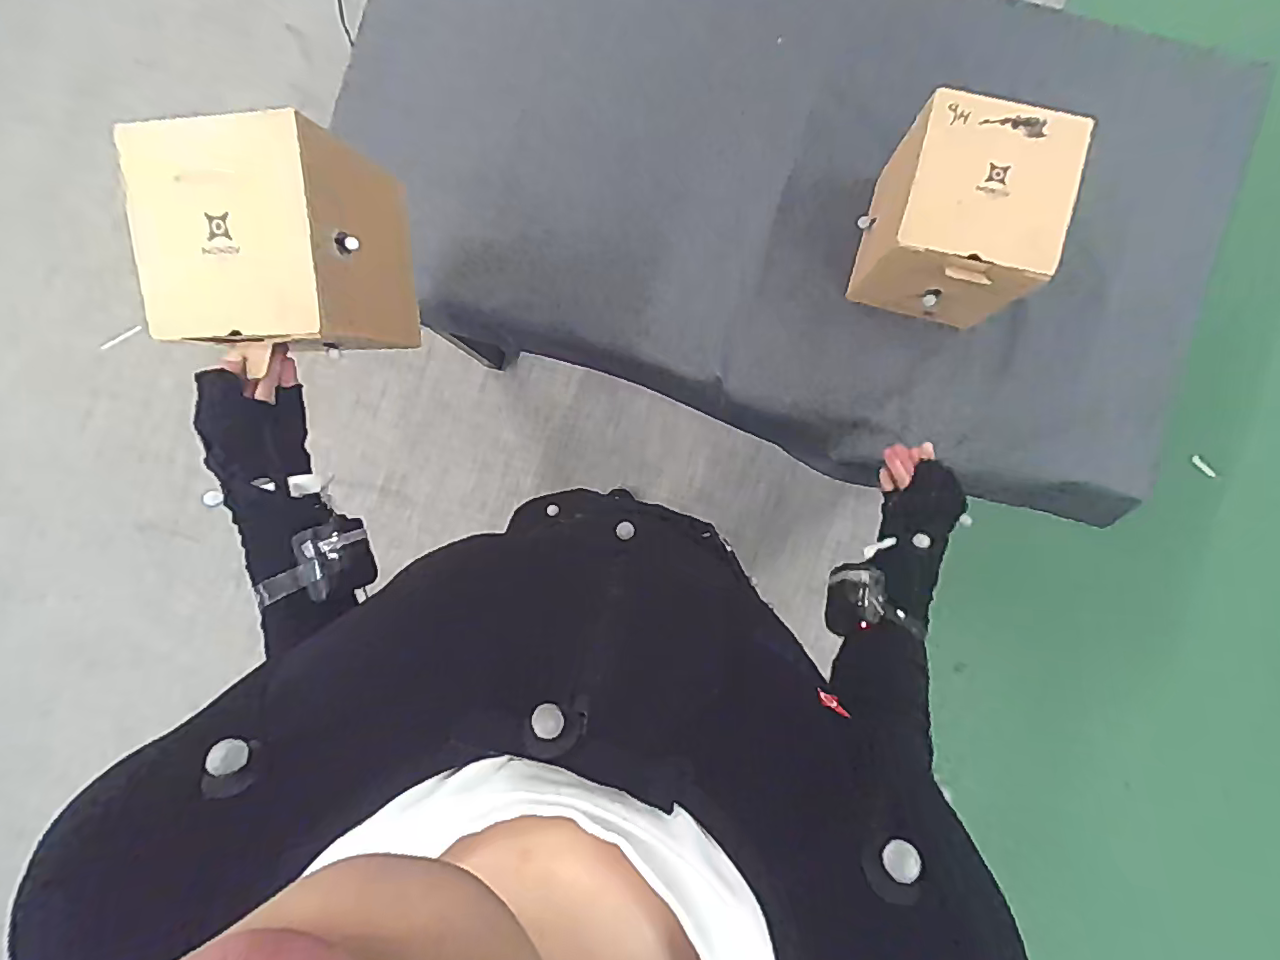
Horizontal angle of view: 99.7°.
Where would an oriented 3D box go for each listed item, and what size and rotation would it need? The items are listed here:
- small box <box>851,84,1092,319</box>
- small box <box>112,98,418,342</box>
[{"bbox_3d":[0.372,-0.312,0.645,0.168,0.176,0.179,16,91,3],"label":"small box"},{"bbox_3d":[-0.333,-0.225,0.520,0.168,0.176,0.179,0,100,6],"label":"small box"}]
